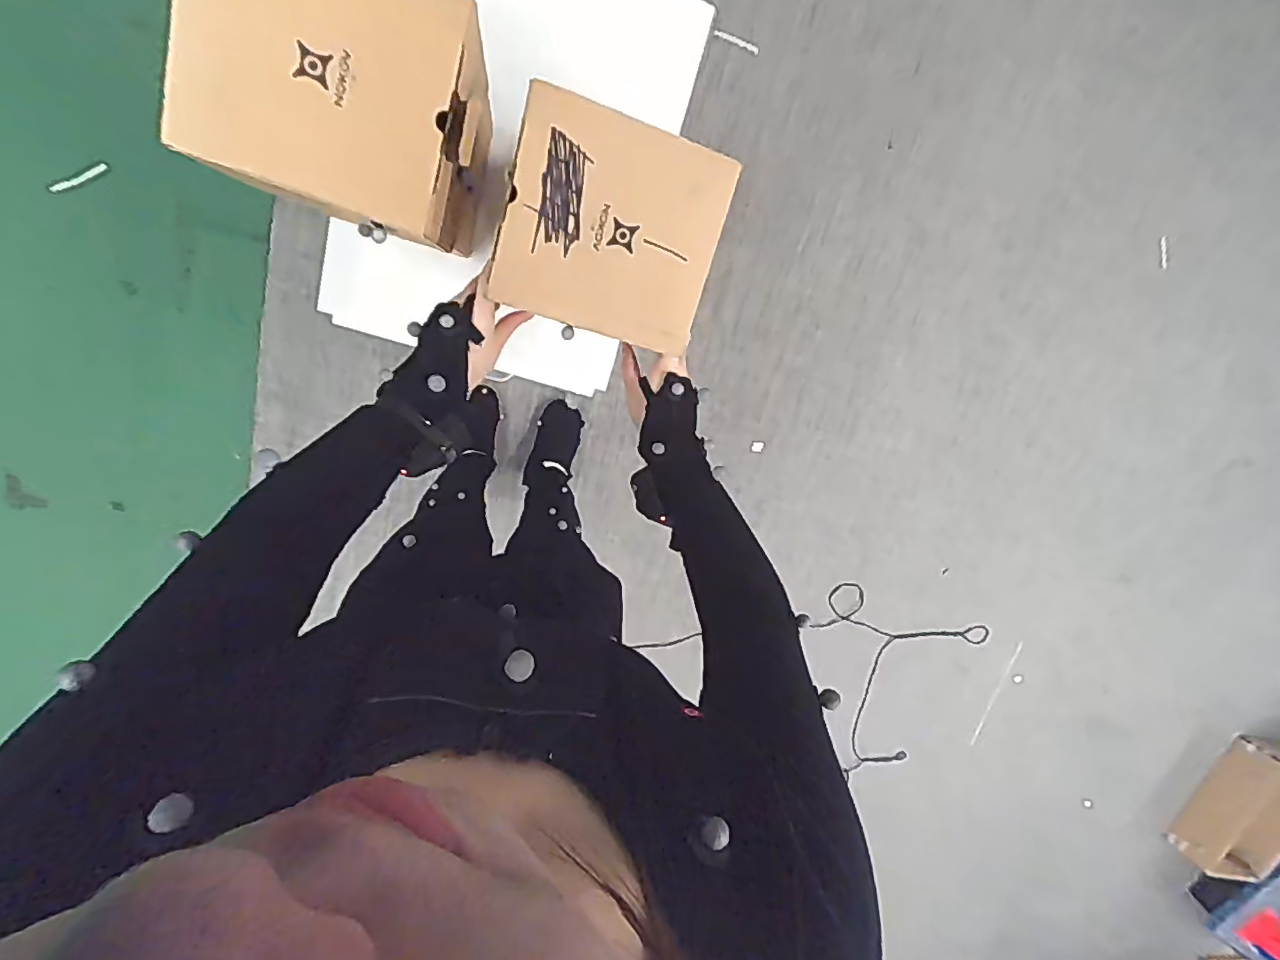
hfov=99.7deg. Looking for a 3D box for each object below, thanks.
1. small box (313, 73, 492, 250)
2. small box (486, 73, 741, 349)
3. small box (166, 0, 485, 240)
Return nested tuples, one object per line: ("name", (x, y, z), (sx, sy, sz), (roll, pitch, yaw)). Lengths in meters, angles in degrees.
("small box", (-0.270, -0.368, 0.601), (0.179, 0.176, 0.168), (12, 105, -17))
("small box", (-0.035, -0.233, 0.518), (0.179, 0.176, 0.168), (14, 104, -15))
("small box", (-0.236, -0.315, 0.449), (0.179, 0.176, 0.168), (14, 104, -19))
